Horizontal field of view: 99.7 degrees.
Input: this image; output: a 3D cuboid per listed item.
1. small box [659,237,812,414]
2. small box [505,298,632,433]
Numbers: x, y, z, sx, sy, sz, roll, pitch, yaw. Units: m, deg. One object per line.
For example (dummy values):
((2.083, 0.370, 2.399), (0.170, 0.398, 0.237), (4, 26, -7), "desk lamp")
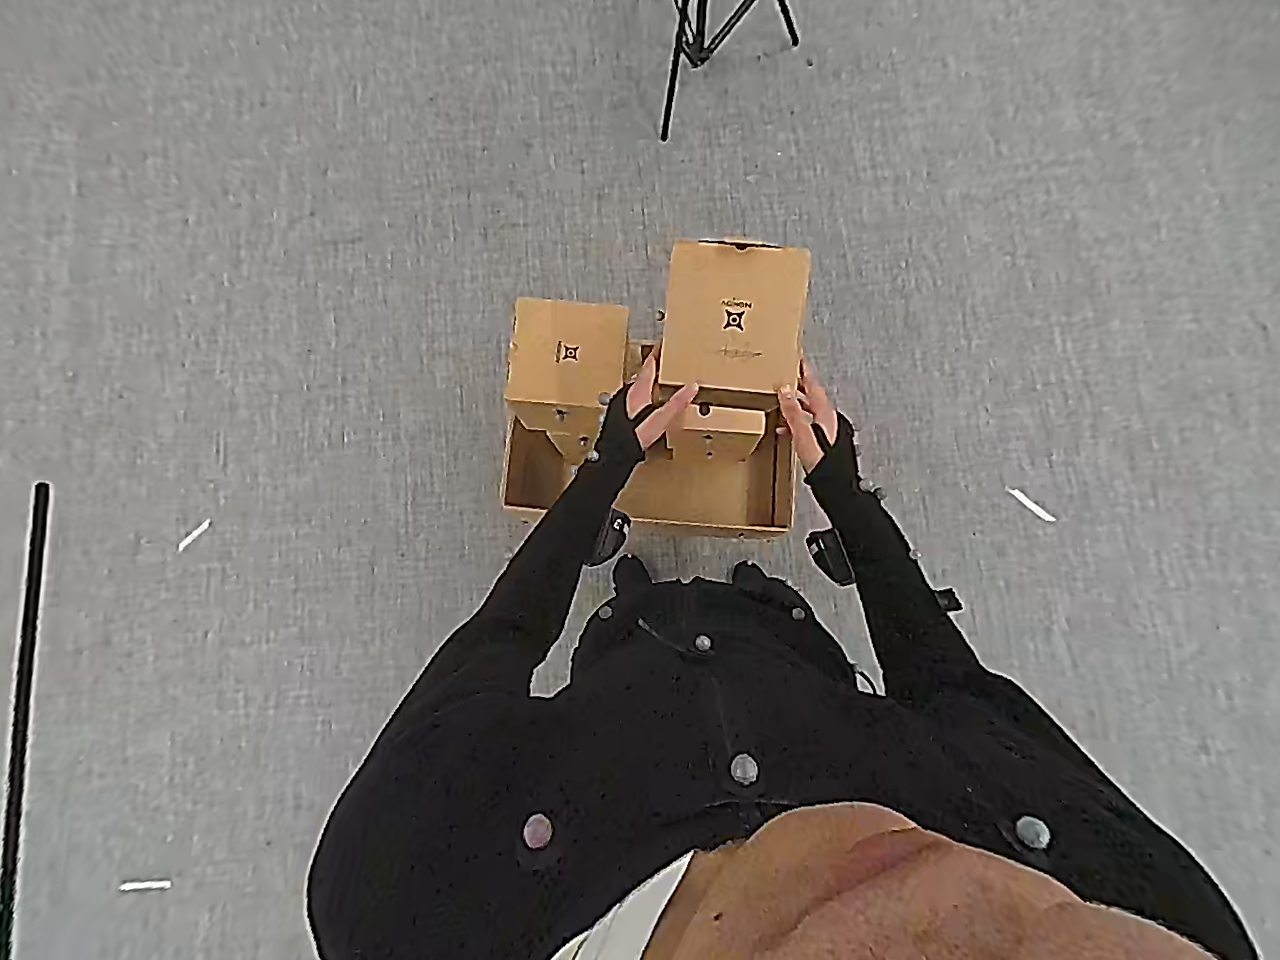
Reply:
((0.114, -0.191, 0.711), (0.168, 0.176, 0.179), (6, 90, 3), "small box")
((-0.106, -0.178, 0.887), (0.179, 0.176, 0.168), (5, 81, 2), "small box")
